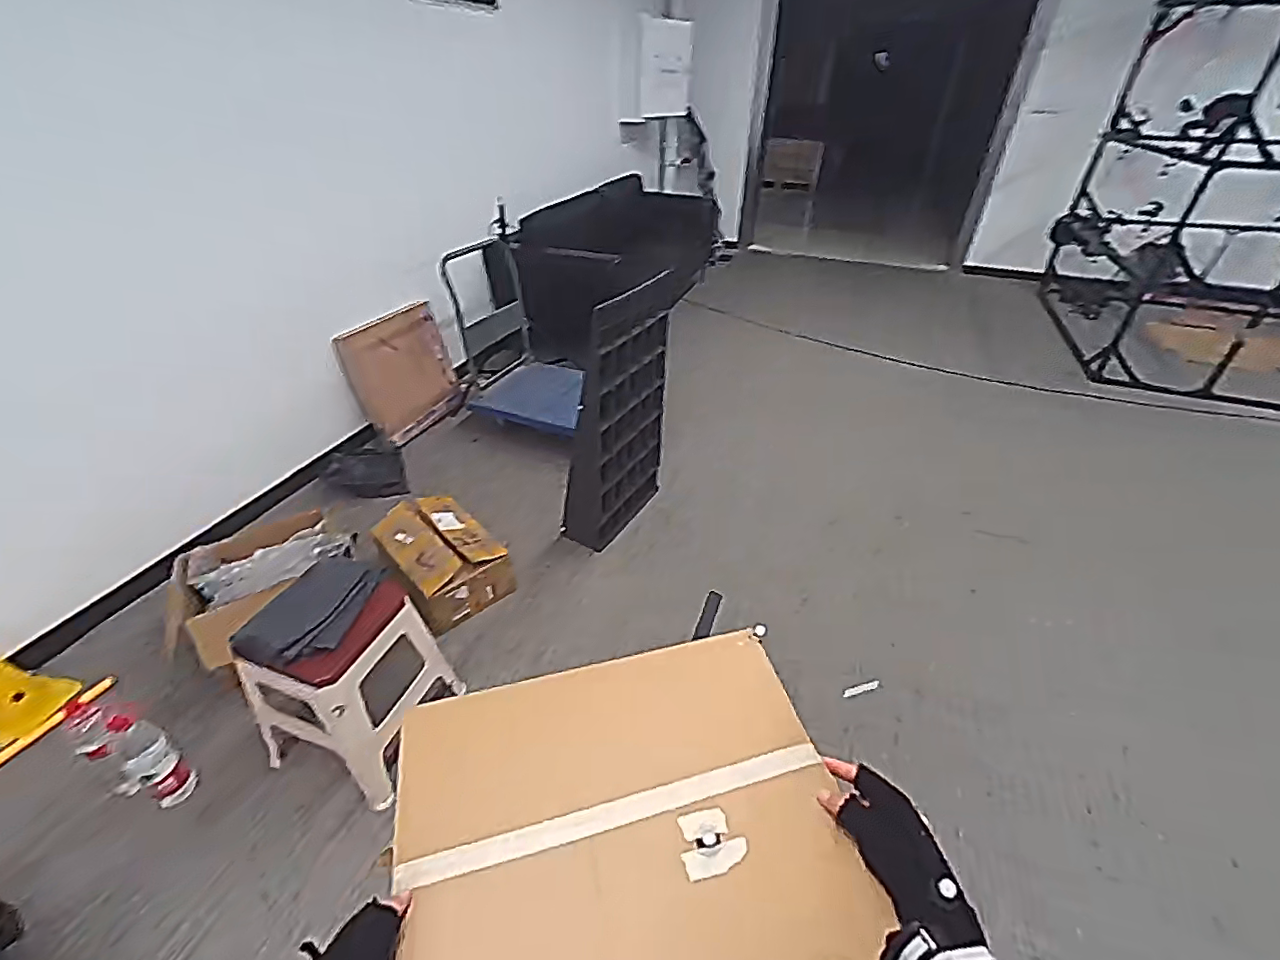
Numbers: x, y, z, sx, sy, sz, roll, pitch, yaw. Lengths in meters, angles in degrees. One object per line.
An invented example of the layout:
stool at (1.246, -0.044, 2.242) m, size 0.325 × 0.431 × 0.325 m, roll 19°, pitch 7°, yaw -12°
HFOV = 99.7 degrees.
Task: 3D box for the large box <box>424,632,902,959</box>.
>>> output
large box at (-0.008, 0.430, 0.622) m, size 0.408 × 0.320 × 0.320 m, roll -8°, pitch 42°, yaw -13°
